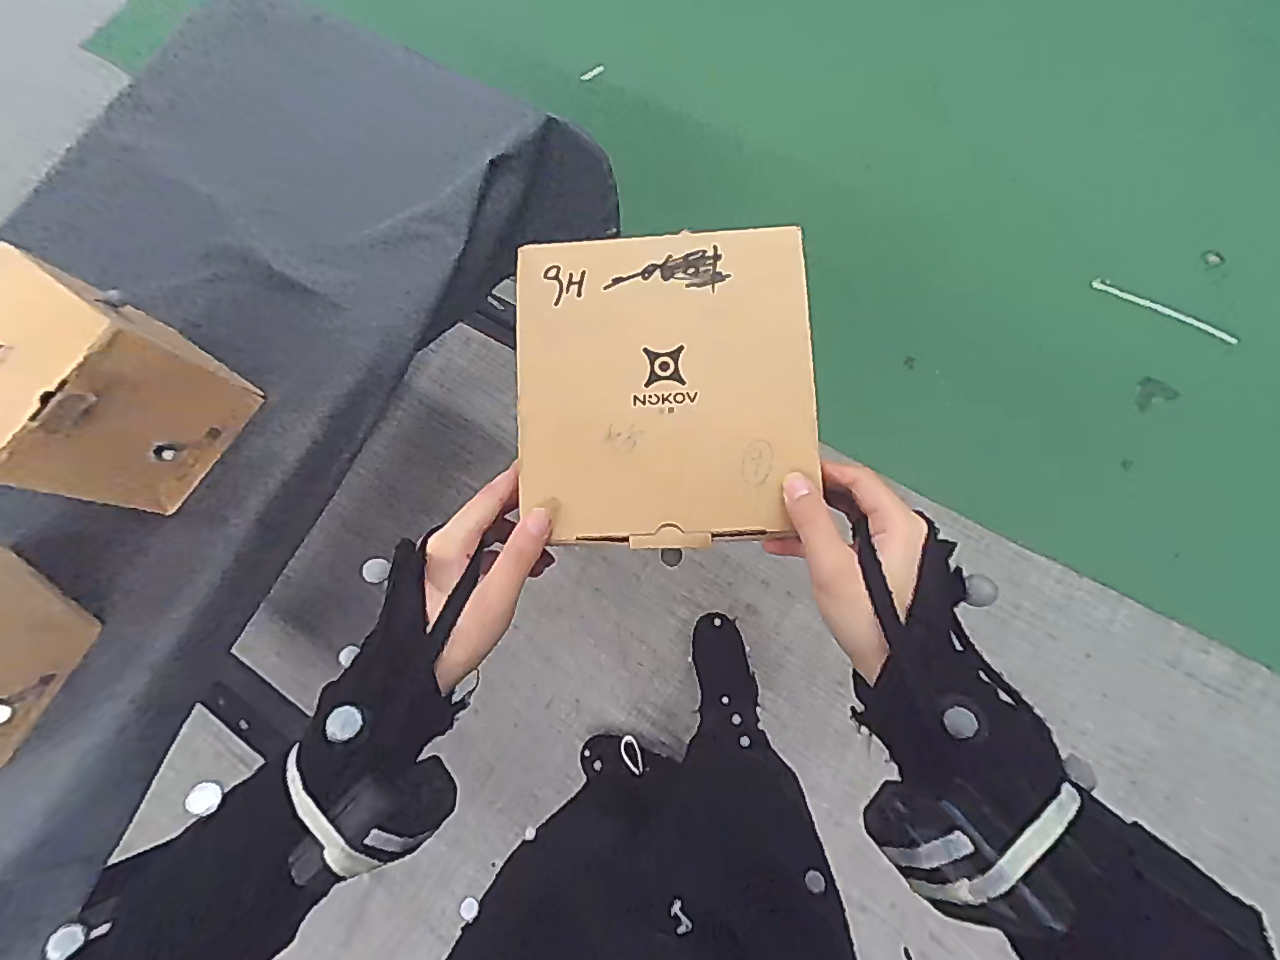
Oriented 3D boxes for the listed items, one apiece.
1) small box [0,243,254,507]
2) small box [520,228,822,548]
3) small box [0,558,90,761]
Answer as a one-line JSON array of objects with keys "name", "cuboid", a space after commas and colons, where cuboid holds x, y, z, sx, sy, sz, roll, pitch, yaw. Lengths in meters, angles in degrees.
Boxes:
[{"name": "small box", "cuboid": [-0.554, -0.090, 0.543, 0.179, 0.176, 0.168, 31, 82, 13]}, {"name": "small box", "cuboid": [0.020, -0.045, 0.378, 0.168, 0.176, 0.179, -2, 84, 3]}, {"name": "small box", "cuboid": [-0.690, 0.166, 0.494, 0.179, 0.176, 0.168, 28, 81, 12]}]
